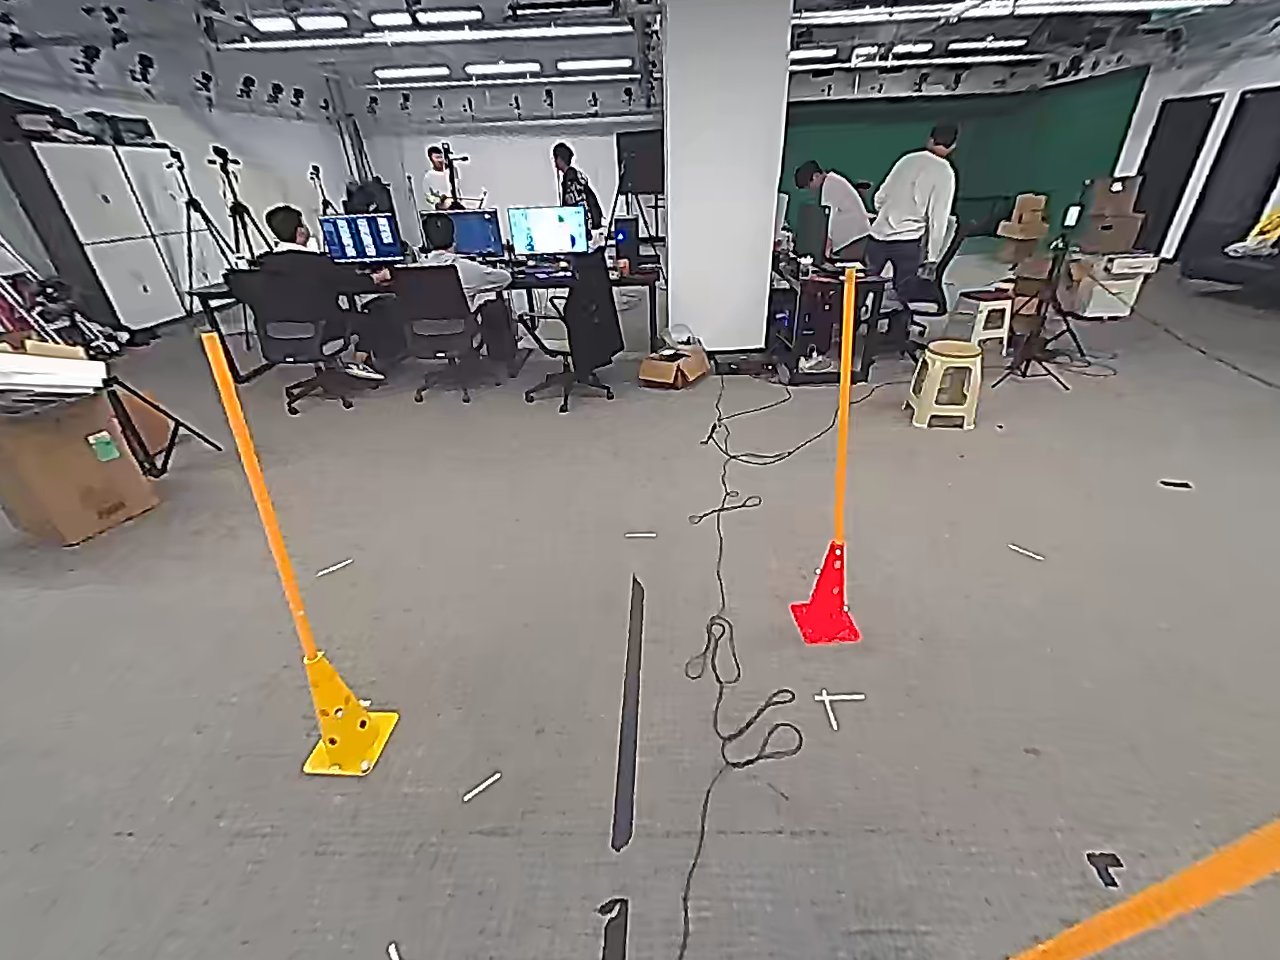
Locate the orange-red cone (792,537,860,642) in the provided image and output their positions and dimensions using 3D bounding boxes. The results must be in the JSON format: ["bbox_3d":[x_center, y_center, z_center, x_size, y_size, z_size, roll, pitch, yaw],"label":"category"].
[{"bbox_3d":[0.650,0.351,1.844,0.199,0.360,0.198,-5,29,-1],"label":"orange-red cone"}]
